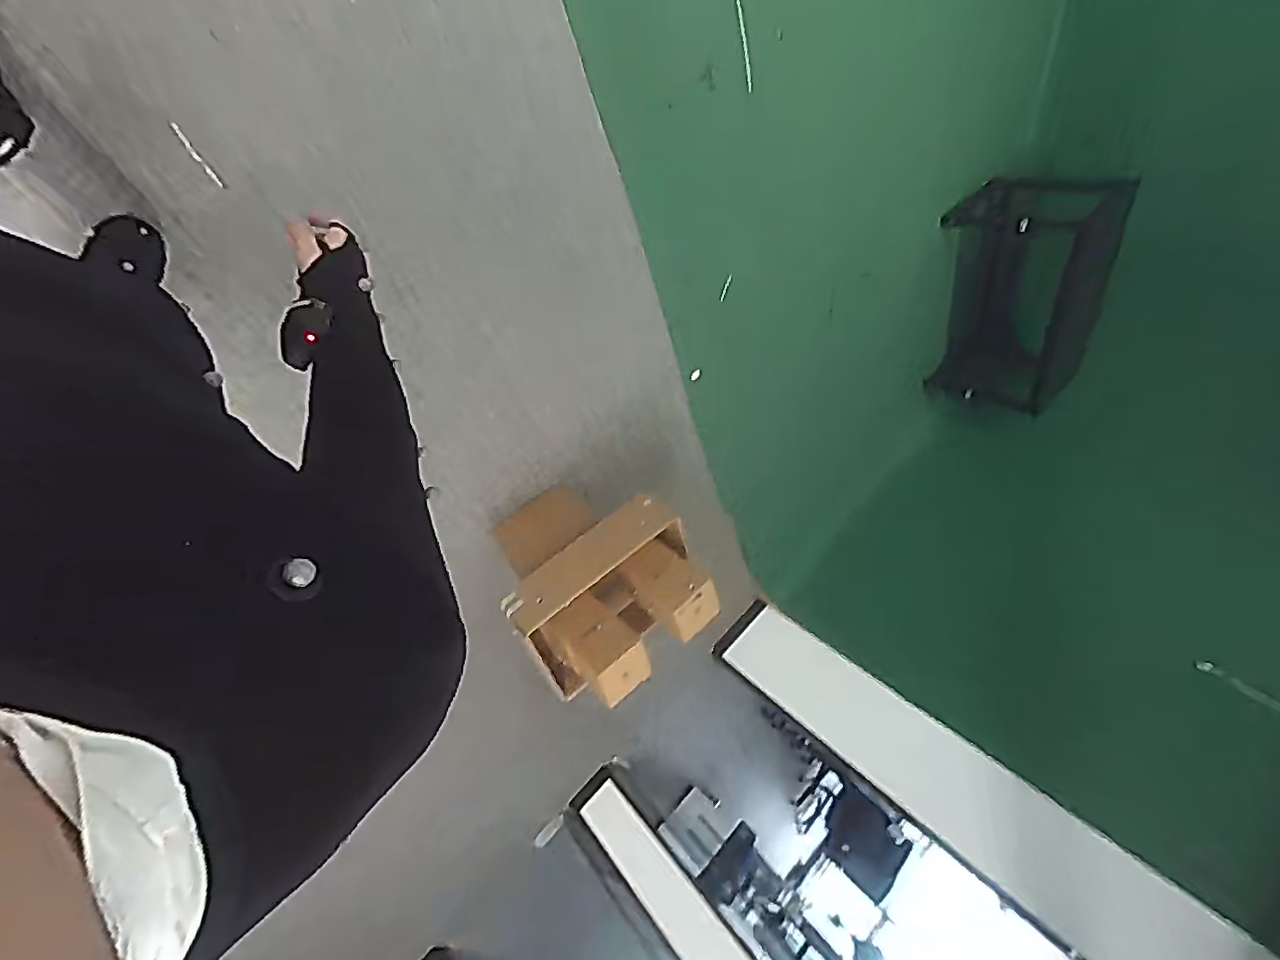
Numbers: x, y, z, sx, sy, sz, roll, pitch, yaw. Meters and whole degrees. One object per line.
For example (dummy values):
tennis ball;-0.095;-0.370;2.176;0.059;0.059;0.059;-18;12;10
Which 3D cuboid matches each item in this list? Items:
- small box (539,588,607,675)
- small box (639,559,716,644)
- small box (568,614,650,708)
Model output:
small box;-0.202;0.484;1.746;0.168;0.176;0.179;-33;132;-26
small box;0.123;0.388;1.756;0.168;0.176;0.179;-39;135;-22
small box;-0.094;0.543;1.639;0.168;0.176;0.179;-34;132;-26
